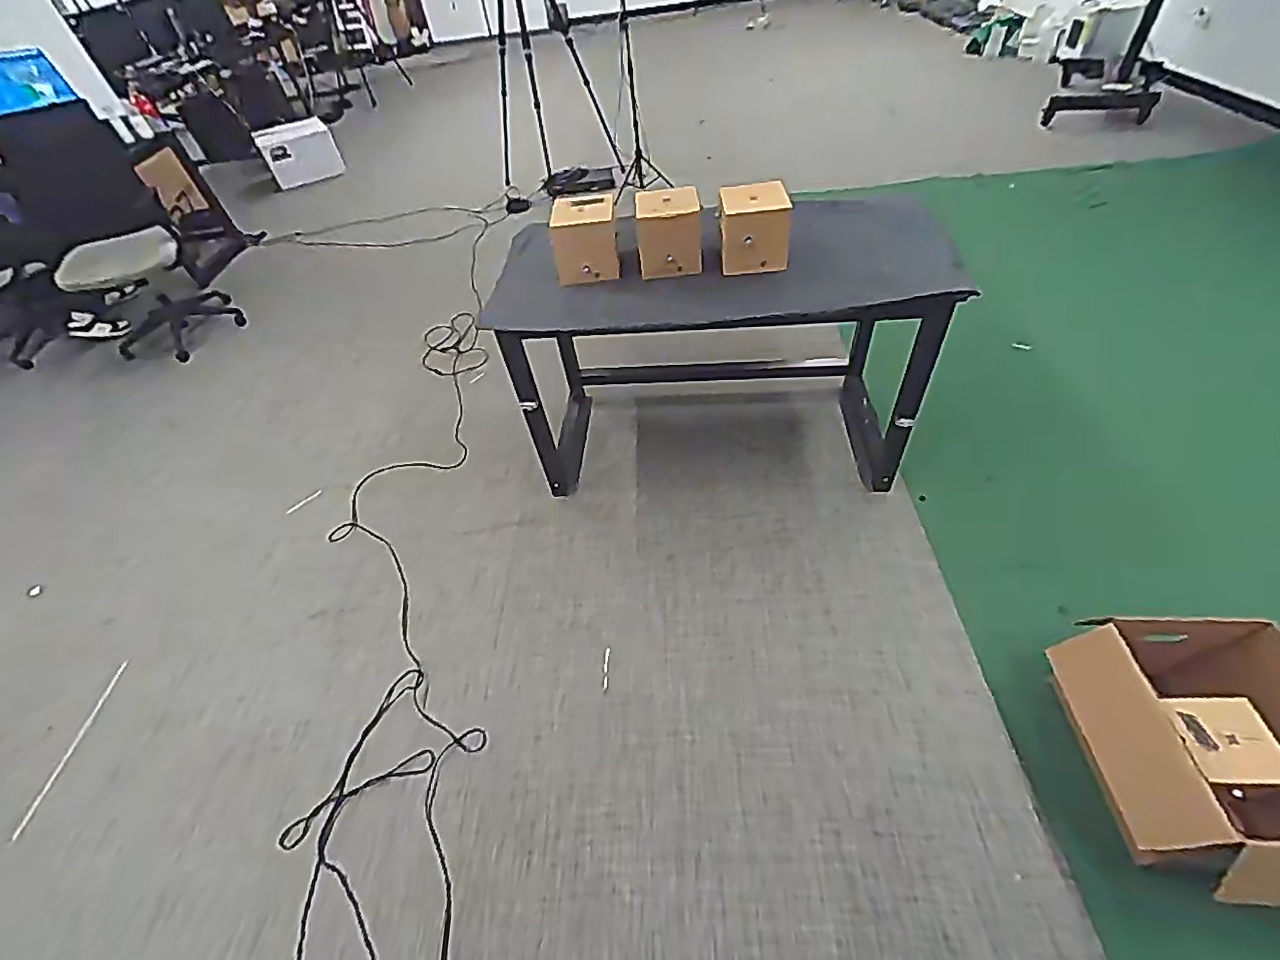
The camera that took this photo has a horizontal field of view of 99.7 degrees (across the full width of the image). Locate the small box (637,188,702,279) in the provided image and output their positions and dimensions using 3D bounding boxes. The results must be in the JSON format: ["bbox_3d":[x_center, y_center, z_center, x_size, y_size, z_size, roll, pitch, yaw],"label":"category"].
[{"bbox_3d":[0.082,-0.672,1.479,0.168,0.176,0.179,-5,48,4],"label":"small box"}]

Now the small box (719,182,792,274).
[{"bbox_3d":[0.303,-0.665,1.443,0.168,0.176,0.179,-4,47,5],"label":"small box"}]
